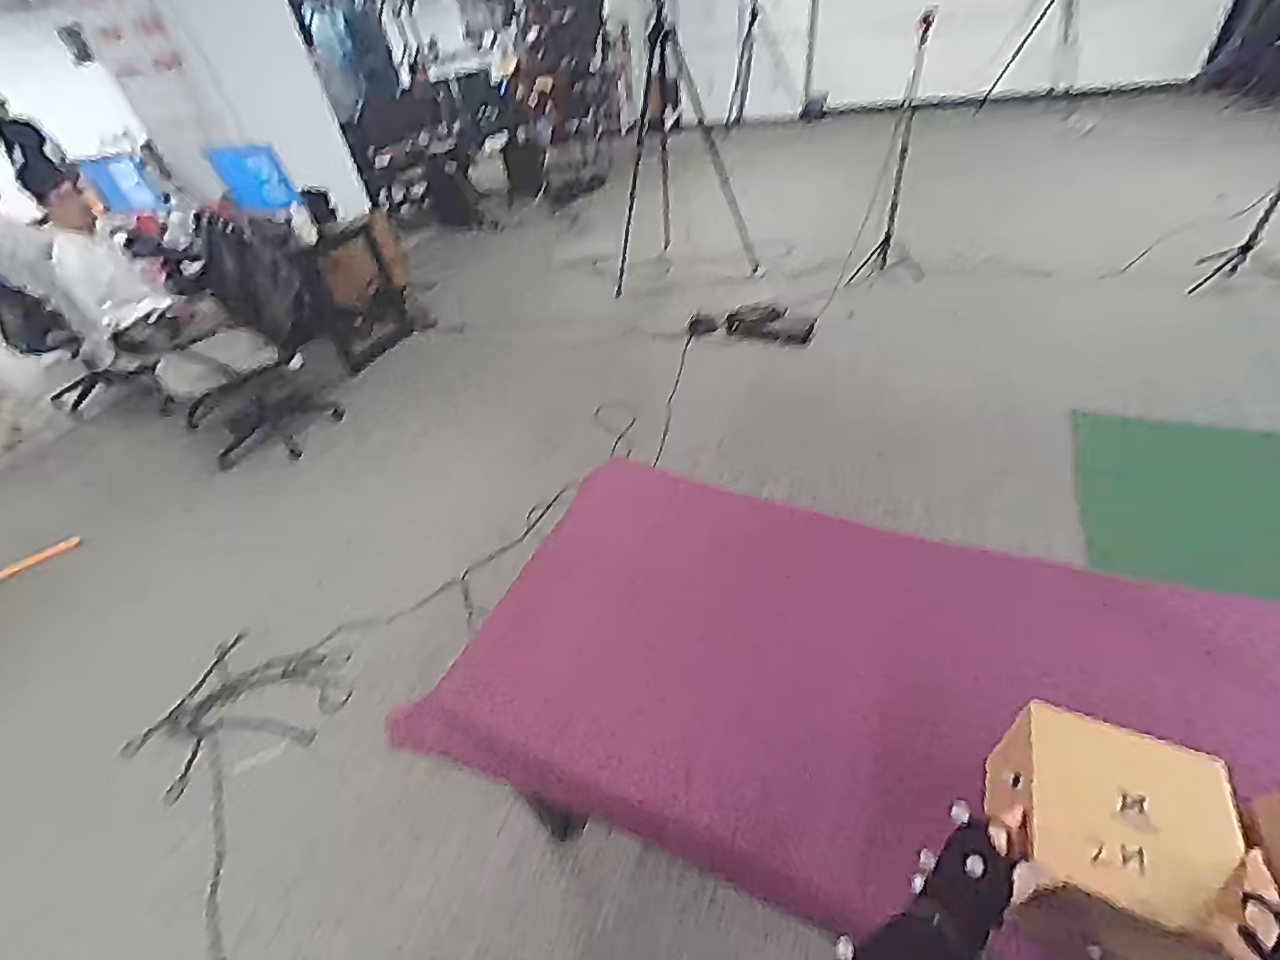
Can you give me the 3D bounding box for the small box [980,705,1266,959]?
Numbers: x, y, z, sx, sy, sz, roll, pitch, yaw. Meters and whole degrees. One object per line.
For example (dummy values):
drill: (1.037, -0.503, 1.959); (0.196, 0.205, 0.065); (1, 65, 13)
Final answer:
small box: (0.477, 0.381, 0.569); (0.168, 0.176, 0.179); (13, 47, 24)
